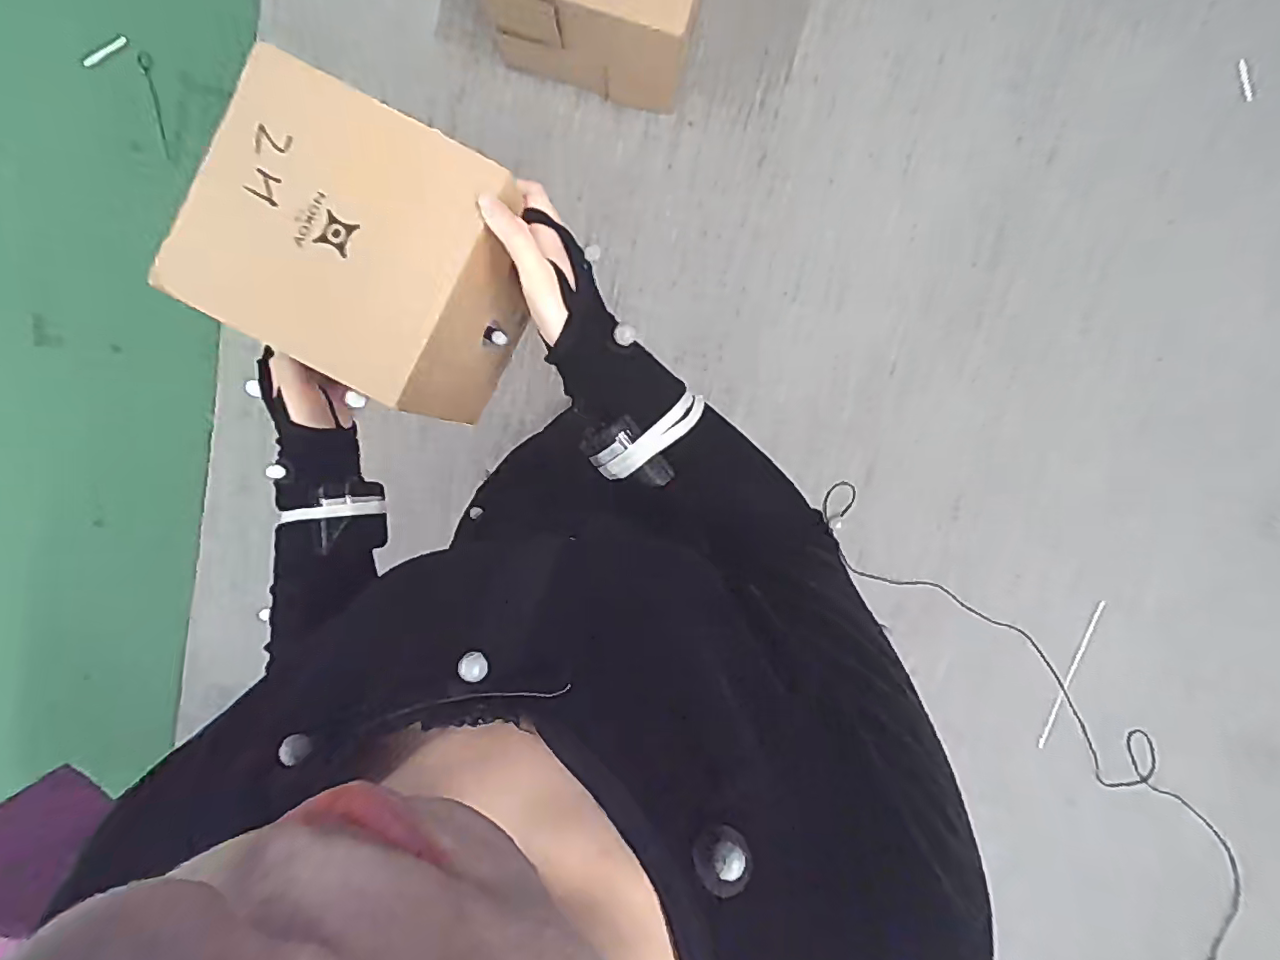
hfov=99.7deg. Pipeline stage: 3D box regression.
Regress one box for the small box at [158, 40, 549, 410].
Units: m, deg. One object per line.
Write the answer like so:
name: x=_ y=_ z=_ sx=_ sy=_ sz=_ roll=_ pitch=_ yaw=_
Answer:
small box: x=-0.190 y=-0.165 z=0.418 sx=0.179 sy=0.176 sz=0.168 roll=29 pitch=92 yaw=0
